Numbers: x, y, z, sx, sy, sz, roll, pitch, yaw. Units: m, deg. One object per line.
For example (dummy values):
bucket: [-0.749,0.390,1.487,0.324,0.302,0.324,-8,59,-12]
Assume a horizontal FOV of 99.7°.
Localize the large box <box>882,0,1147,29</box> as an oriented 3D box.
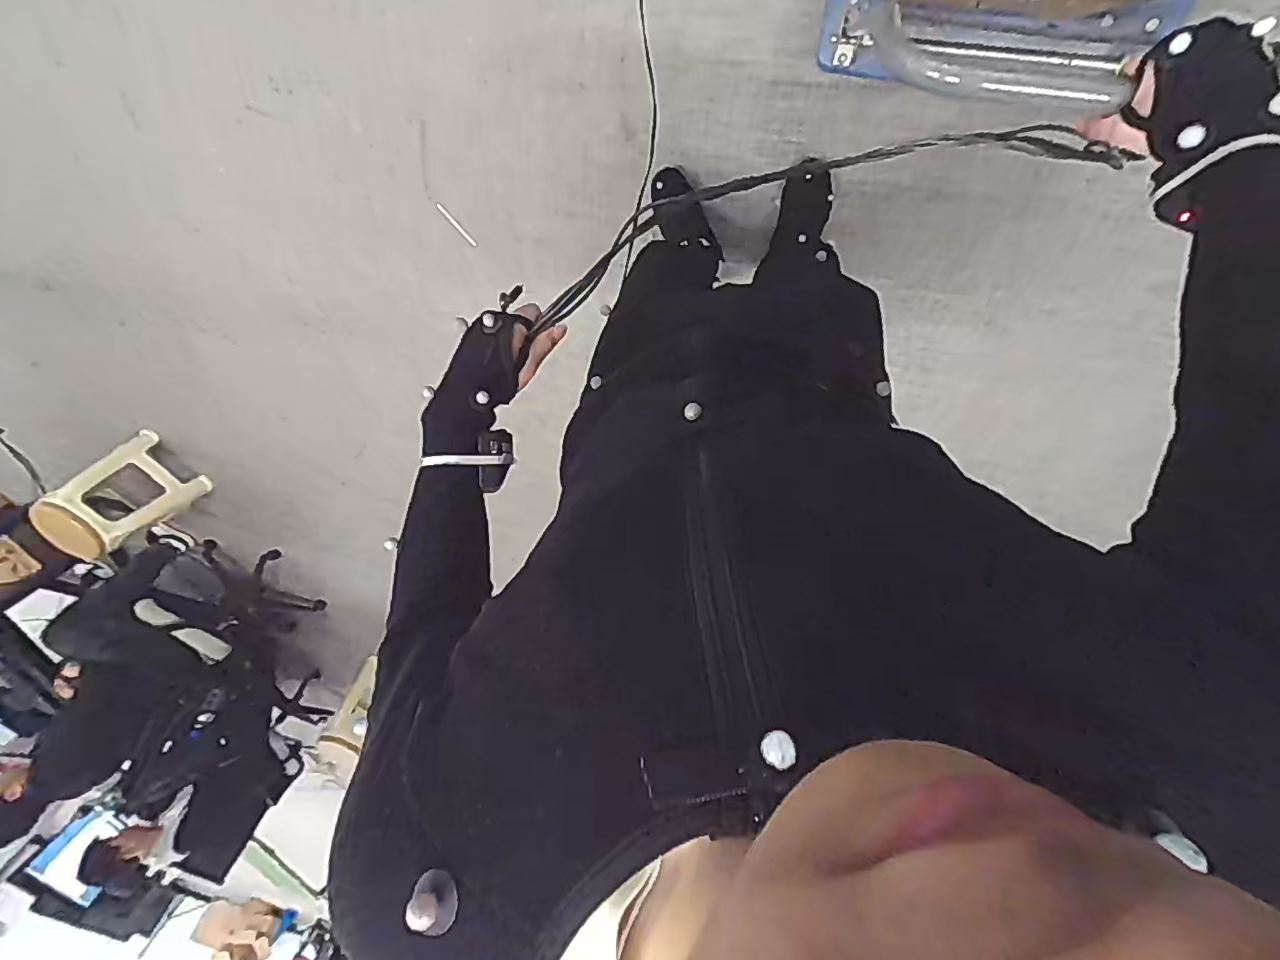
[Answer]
large box: [0.561,-0.884,0.717,0.320,0.320,0.408,13,127,6]
